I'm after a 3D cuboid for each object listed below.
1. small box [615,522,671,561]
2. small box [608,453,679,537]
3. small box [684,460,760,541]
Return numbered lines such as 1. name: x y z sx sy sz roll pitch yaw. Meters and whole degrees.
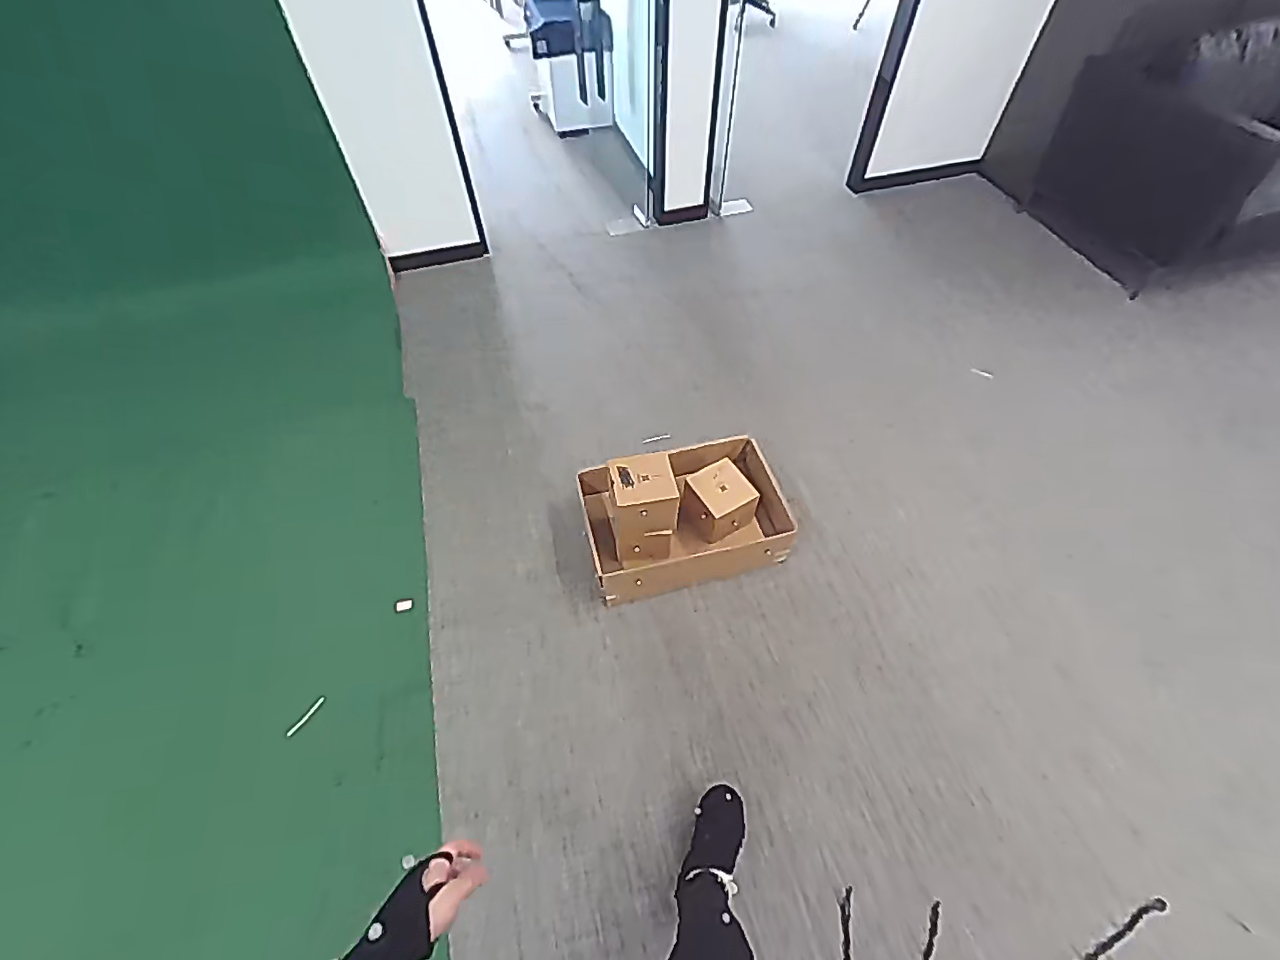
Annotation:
1. small box: 0.008 0.143 1.685 0.168 0.176 0.179 -3 53 -2
2. small box: 0.008 0.047 1.551 0.179 0.176 0.168 -8 54 -8
3. small box: 0.256 0.074 1.731 0.168 0.176 0.179 -25 58 -17
